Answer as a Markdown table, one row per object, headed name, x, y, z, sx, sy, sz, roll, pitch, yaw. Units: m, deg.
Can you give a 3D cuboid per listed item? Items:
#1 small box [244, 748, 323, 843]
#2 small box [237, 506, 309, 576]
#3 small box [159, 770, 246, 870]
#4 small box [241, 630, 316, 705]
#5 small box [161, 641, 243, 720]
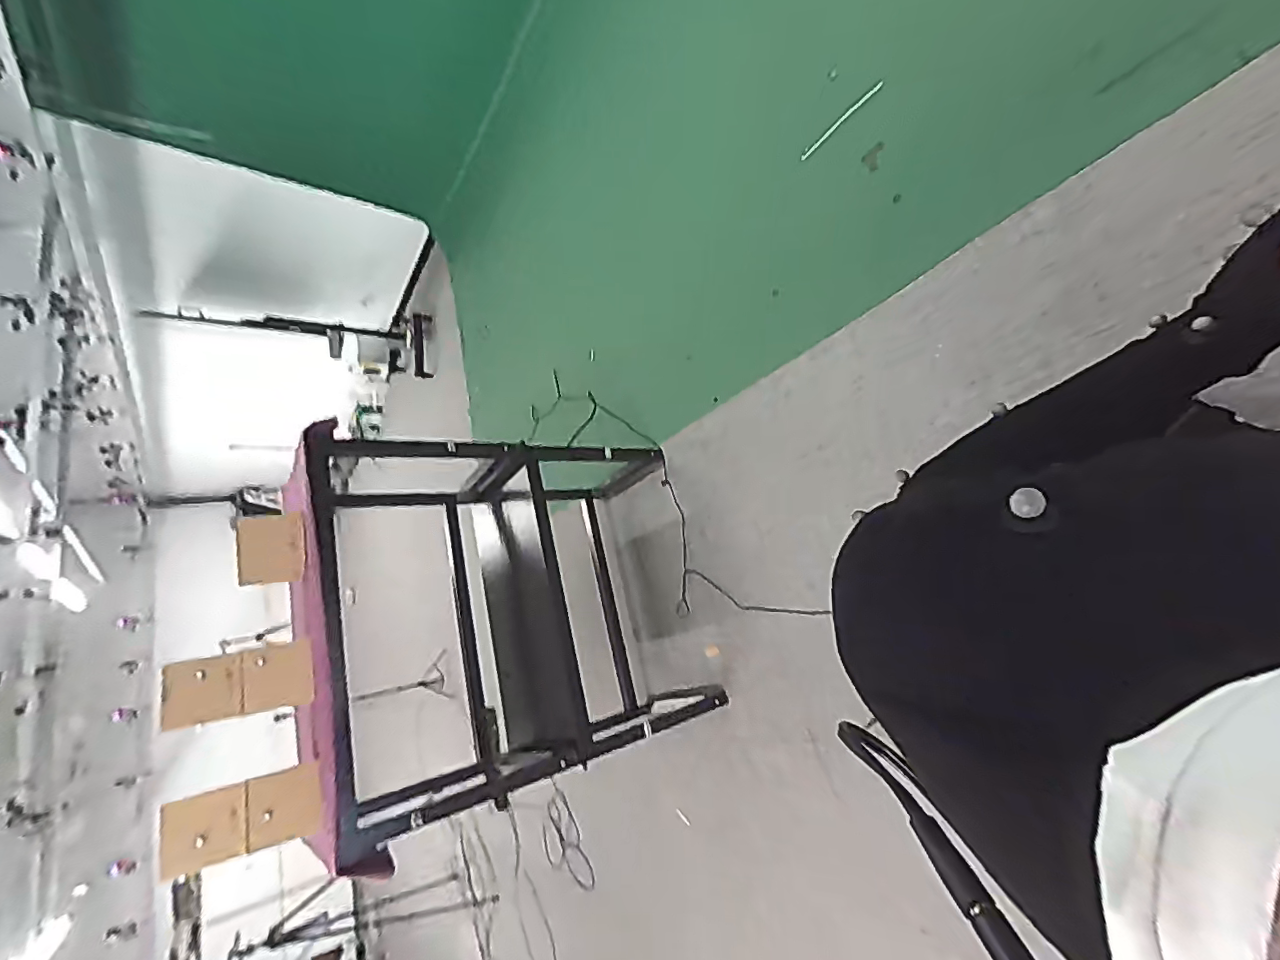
| name | x | y | z | sx | sy | sz | roll | pitch | yaw |
| --- | --- | --- | --- | --- | --- | --- | --- | --- | --- |
| small box | -0.959 | 0.840 | 1.453 | 0.168 | 0.176 | 0.179 | -36 | 62 | 46 |
| small box | -1.124 | 0.186 | 1.654 | 0.168 | 0.176 | 0.179 | -33 | 65 | 49 |
| small box | -1.089 | 0.843 | 1.356 | 0.179 | 0.176 | 0.168 | -38 | 62 | 46 |
| small box | -1.042 | 0.535 | 1.554 | 0.168 | 0.176 | 0.179 | -32 | 66 | 48 |
| small box | -1.174 | 0.540 | 1.460 | 0.179 | 0.176 | 0.168 | -32 | 65 | 48 |
